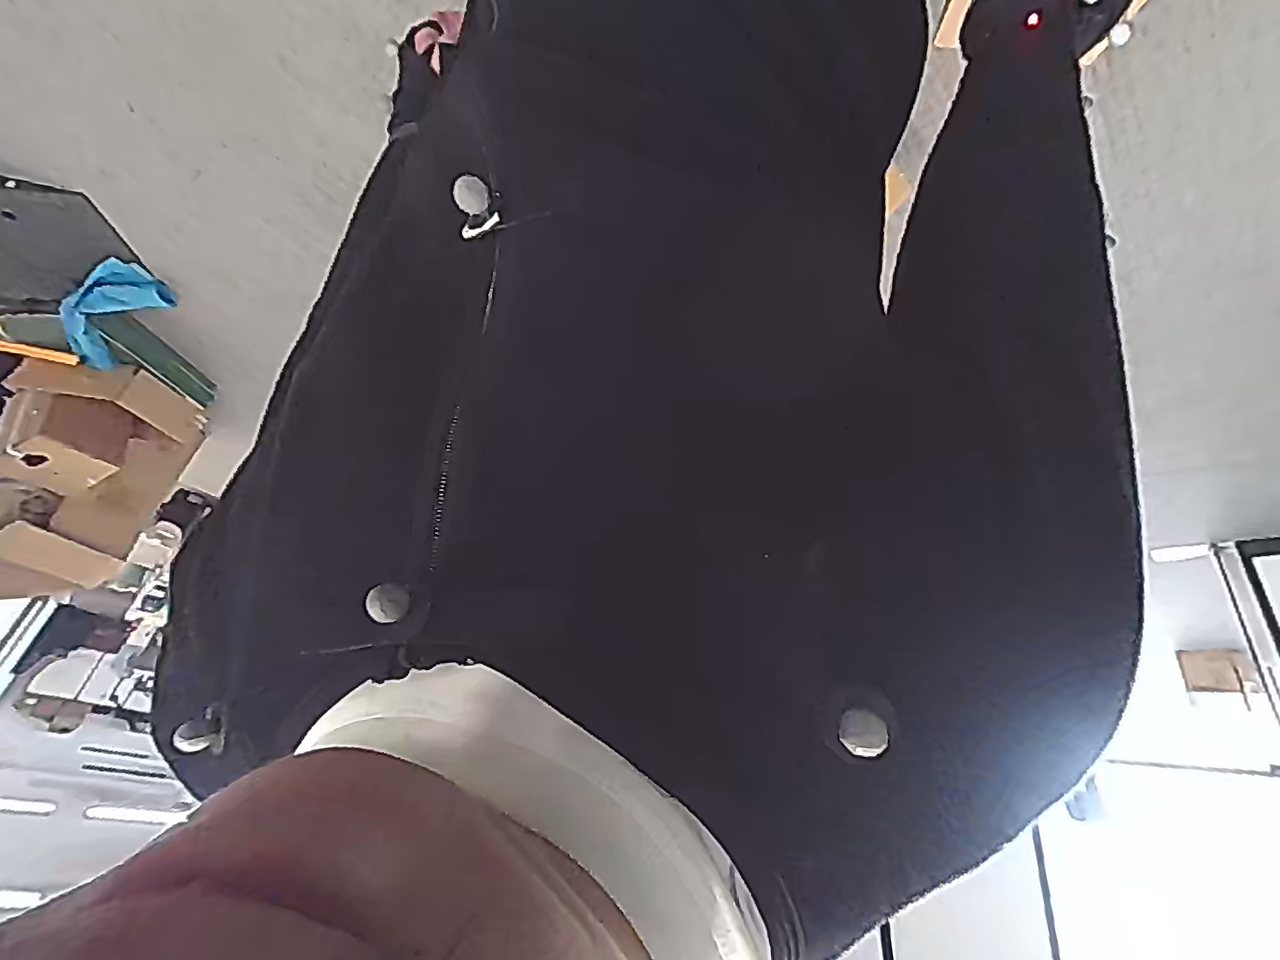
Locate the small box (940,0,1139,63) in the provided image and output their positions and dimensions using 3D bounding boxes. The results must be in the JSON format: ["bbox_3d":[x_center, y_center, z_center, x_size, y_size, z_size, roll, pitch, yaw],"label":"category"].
[{"bbox_3d":[0.409,-0.539,0.507,0.168,0.179,0.176,17,-171,11],"label":"small box"}]
